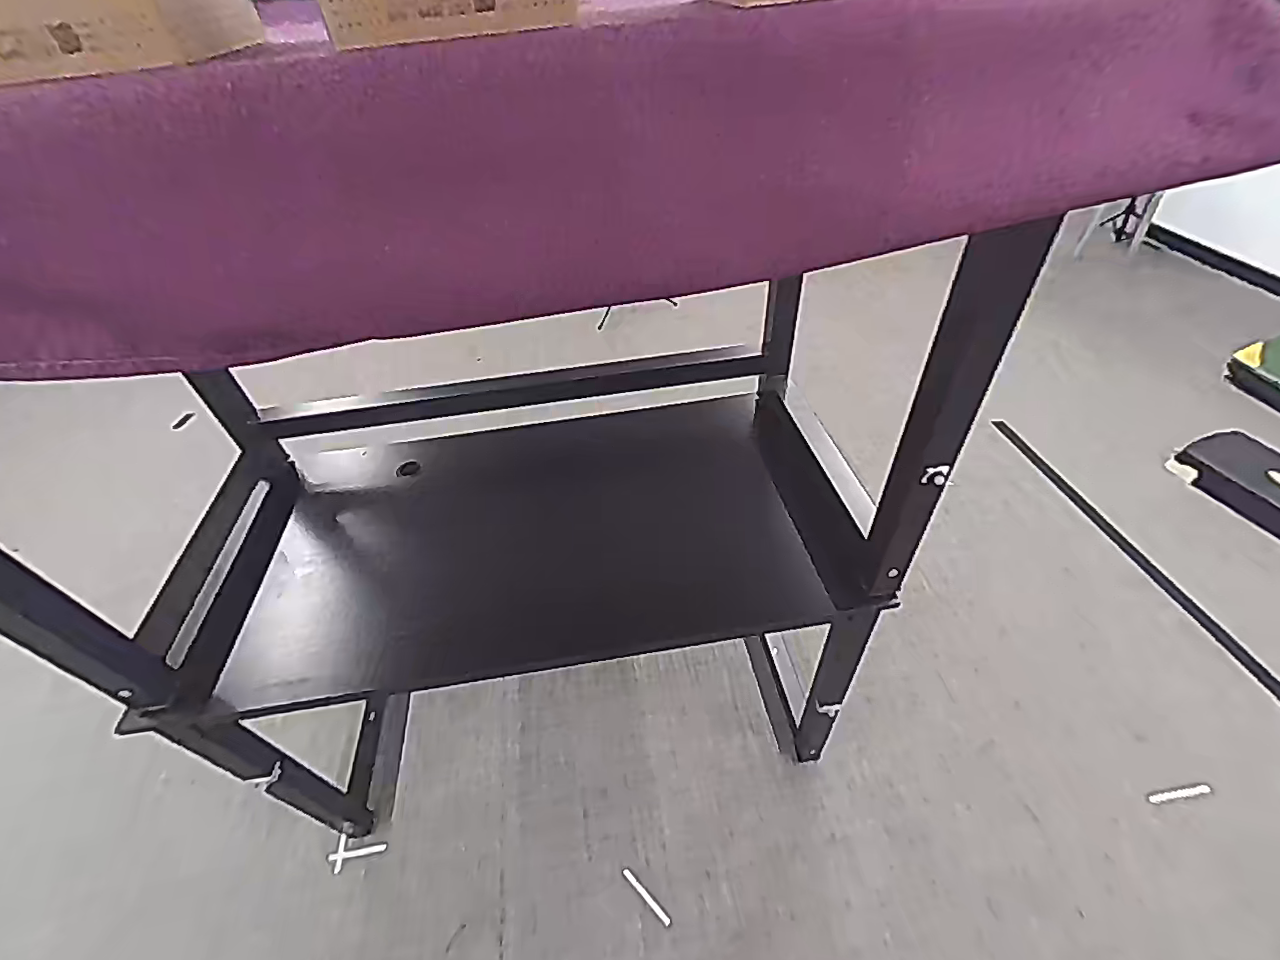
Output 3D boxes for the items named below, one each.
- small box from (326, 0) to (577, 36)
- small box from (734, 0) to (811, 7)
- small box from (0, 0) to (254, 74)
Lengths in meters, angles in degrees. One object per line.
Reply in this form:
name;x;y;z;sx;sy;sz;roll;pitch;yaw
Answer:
small box;-0.139;-0.412;0.359;0.168;0.176;0.179;-10;44;-4
small box;0.141;-0.442;0.362;0.179;0.176;0.168;-8;43;0
small box;-0.397;-0.376;0.349;0.168;0.176;0.179;-10;43;-4
